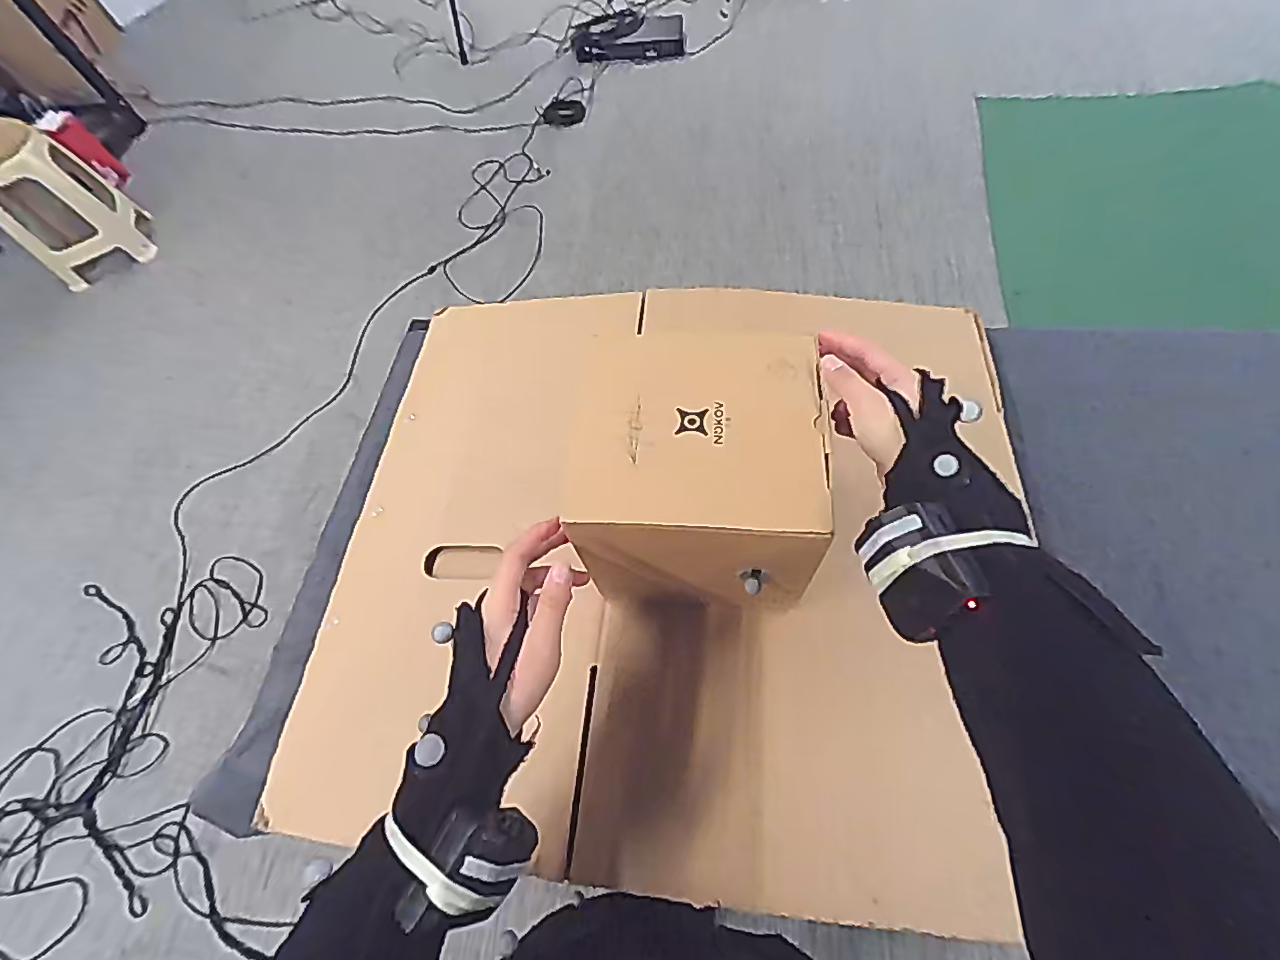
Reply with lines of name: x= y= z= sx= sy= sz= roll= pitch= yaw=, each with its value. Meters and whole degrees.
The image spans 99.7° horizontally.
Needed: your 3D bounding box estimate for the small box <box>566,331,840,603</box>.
small box: x=0.051 y=-0.003 z=0.448 sx=0.179 sy=0.176 sz=0.168 roll=1 pitch=61 yaw=7
